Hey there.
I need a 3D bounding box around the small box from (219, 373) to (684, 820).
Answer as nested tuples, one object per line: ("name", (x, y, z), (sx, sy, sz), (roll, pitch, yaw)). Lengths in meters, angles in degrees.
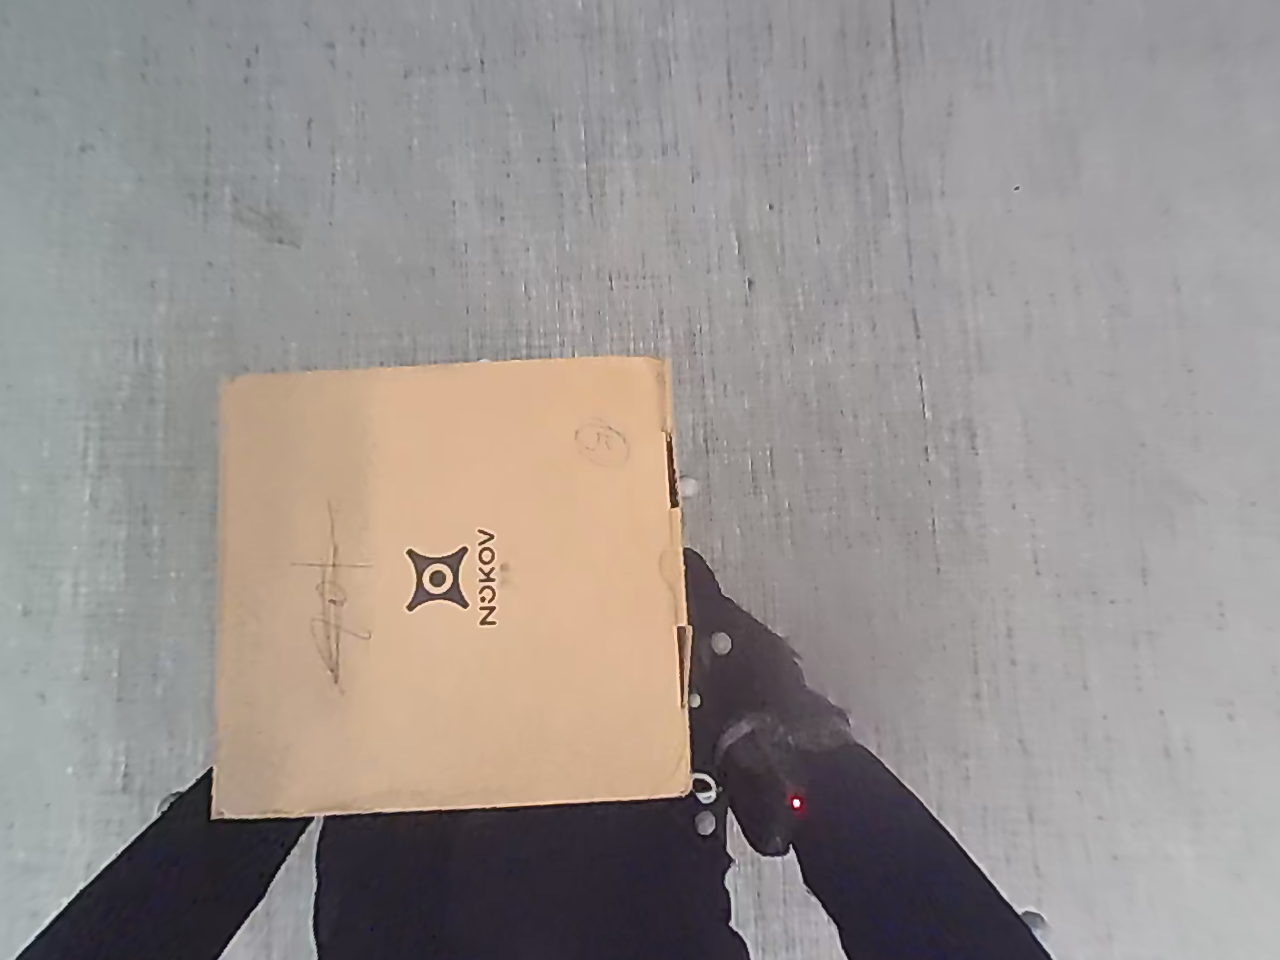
("small box", (-0.072, 0.050, 0.288), (0.179, 0.176, 0.168), (-4, 83, 2))
